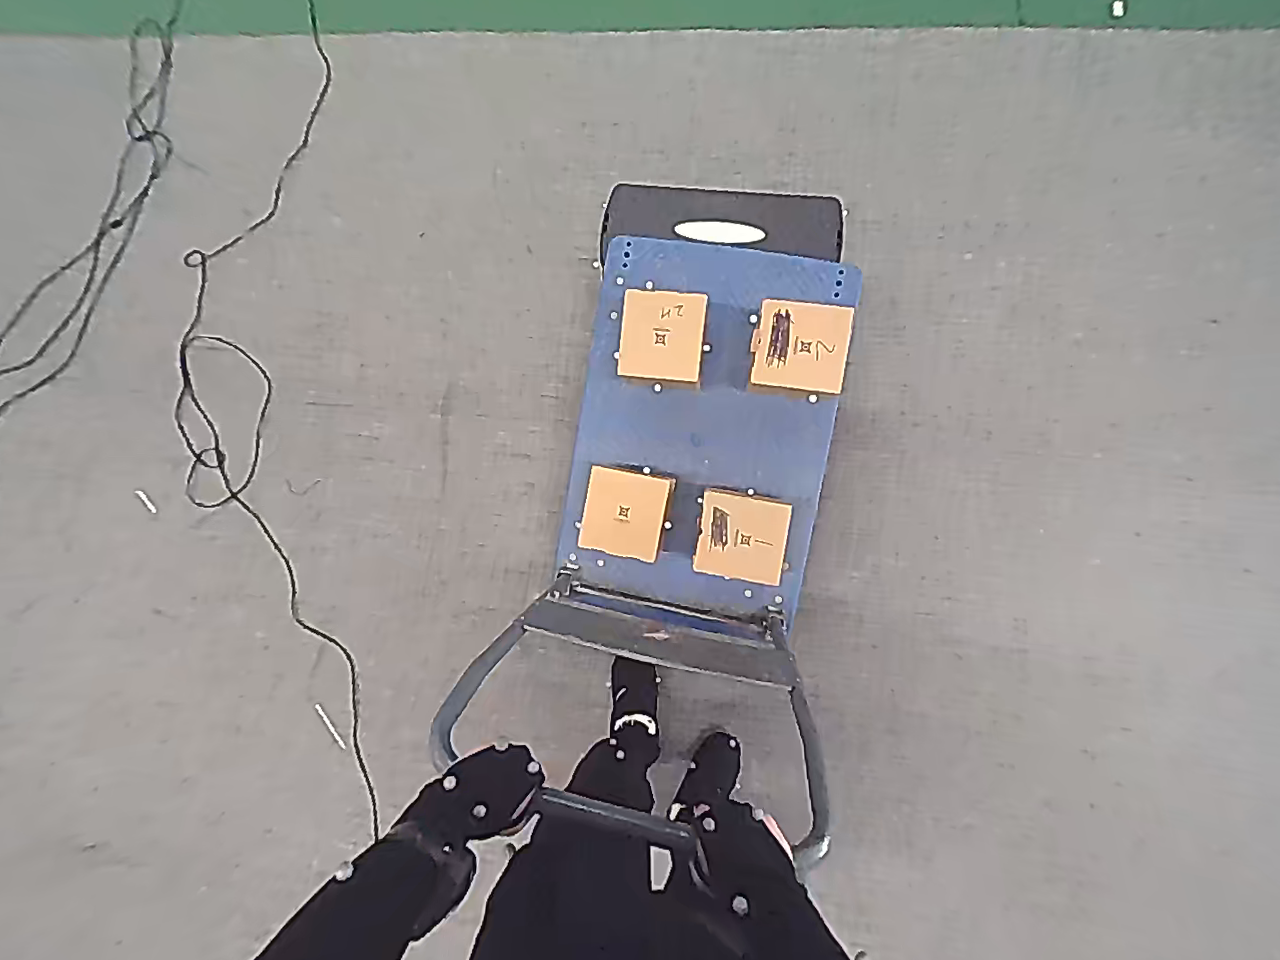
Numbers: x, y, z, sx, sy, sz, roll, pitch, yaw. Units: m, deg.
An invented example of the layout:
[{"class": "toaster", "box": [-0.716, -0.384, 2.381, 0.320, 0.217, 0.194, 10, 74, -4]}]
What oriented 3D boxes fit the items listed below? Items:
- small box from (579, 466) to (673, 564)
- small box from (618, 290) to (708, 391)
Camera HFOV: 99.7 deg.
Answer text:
[{"class": "small box", "box": [-0.023, 0.068, 1.183, 0.168, 0.176, 0.179, 12, 94, 6]}, {"class": "small box", "box": [0.055, -0.289, 1.156, 0.168, 0.176, 0.179, 7, 94, 7]}]
